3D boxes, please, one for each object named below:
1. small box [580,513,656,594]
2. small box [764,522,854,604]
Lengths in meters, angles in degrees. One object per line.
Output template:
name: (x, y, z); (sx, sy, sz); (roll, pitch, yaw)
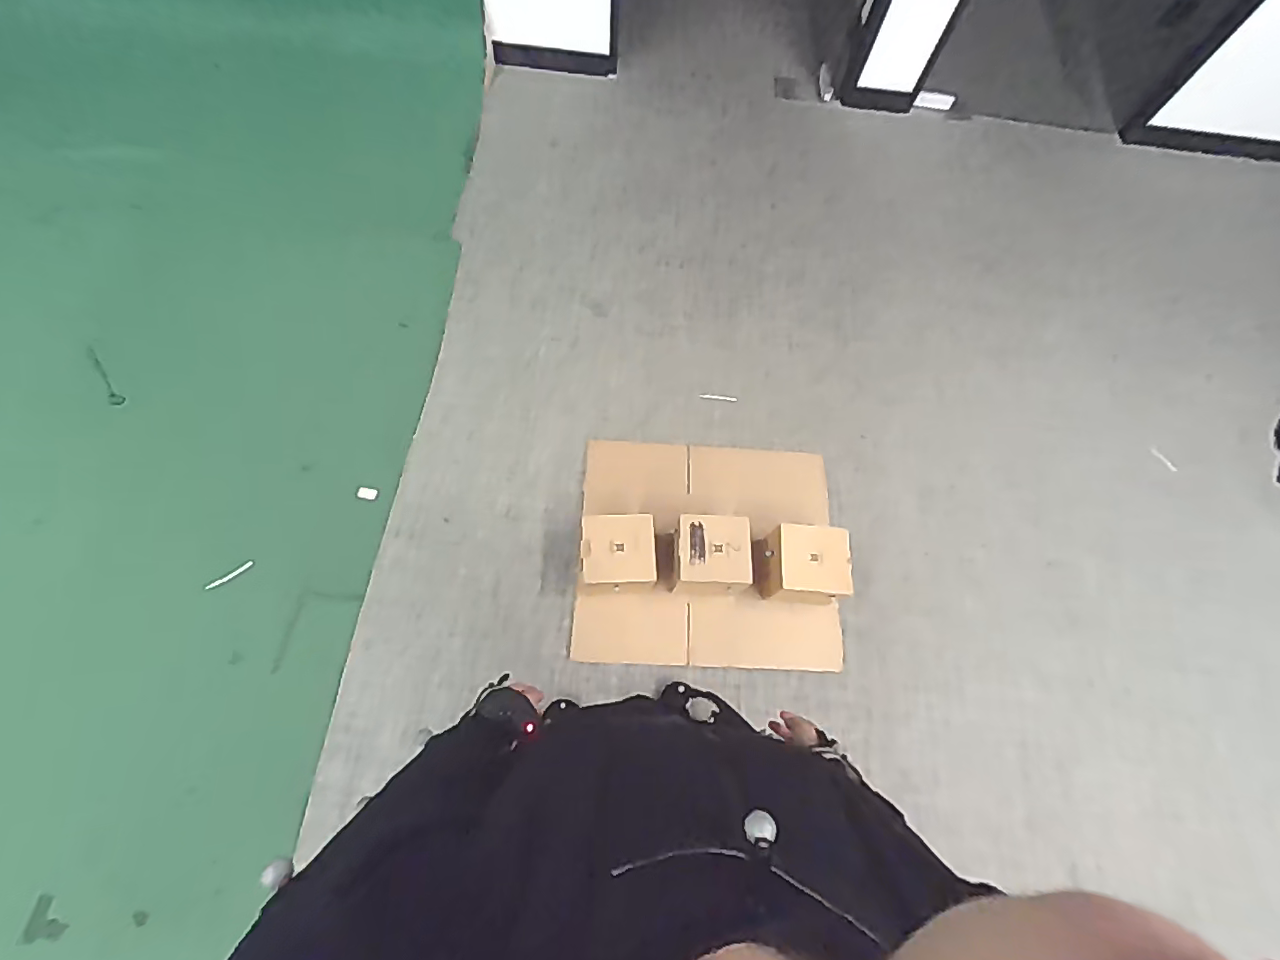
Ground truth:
small box: (-0.059, 0.187, 1.342); (0.179, 0.176, 0.168); (-1, 69, -6)
small box: (0.416, 0.216, 1.367); (0.179, 0.176, 0.168); (5, 68, -3)
